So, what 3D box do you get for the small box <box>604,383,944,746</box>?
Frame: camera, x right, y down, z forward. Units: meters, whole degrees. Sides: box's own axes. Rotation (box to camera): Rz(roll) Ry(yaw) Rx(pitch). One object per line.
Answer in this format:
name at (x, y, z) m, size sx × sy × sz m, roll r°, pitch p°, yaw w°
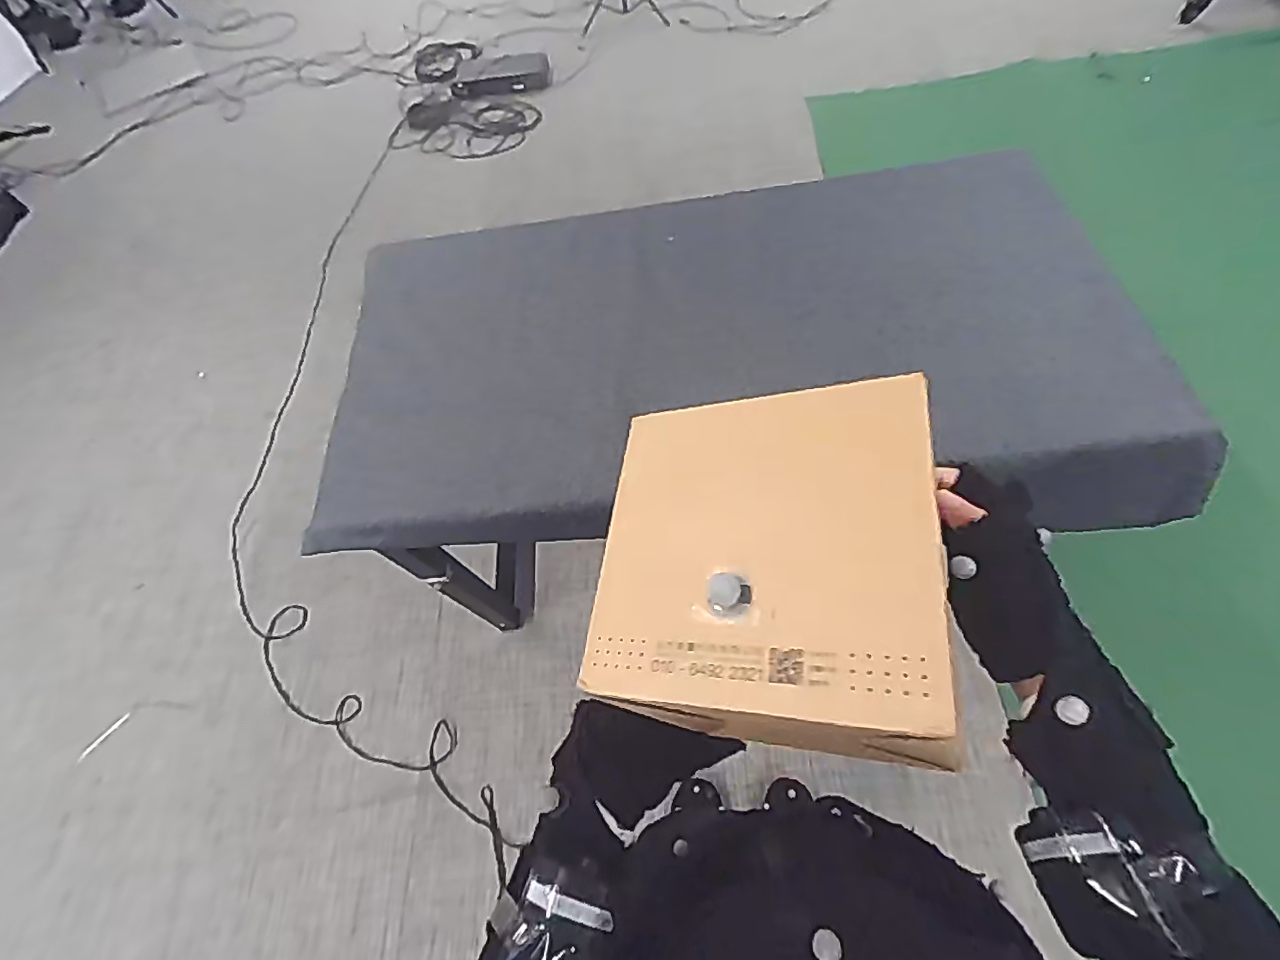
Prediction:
small box at (0.093, 0.067, 0.348) m, size 0.168 × 0.179 × 0.176 m, roll -5°, pitch 60°, yaw 28°
